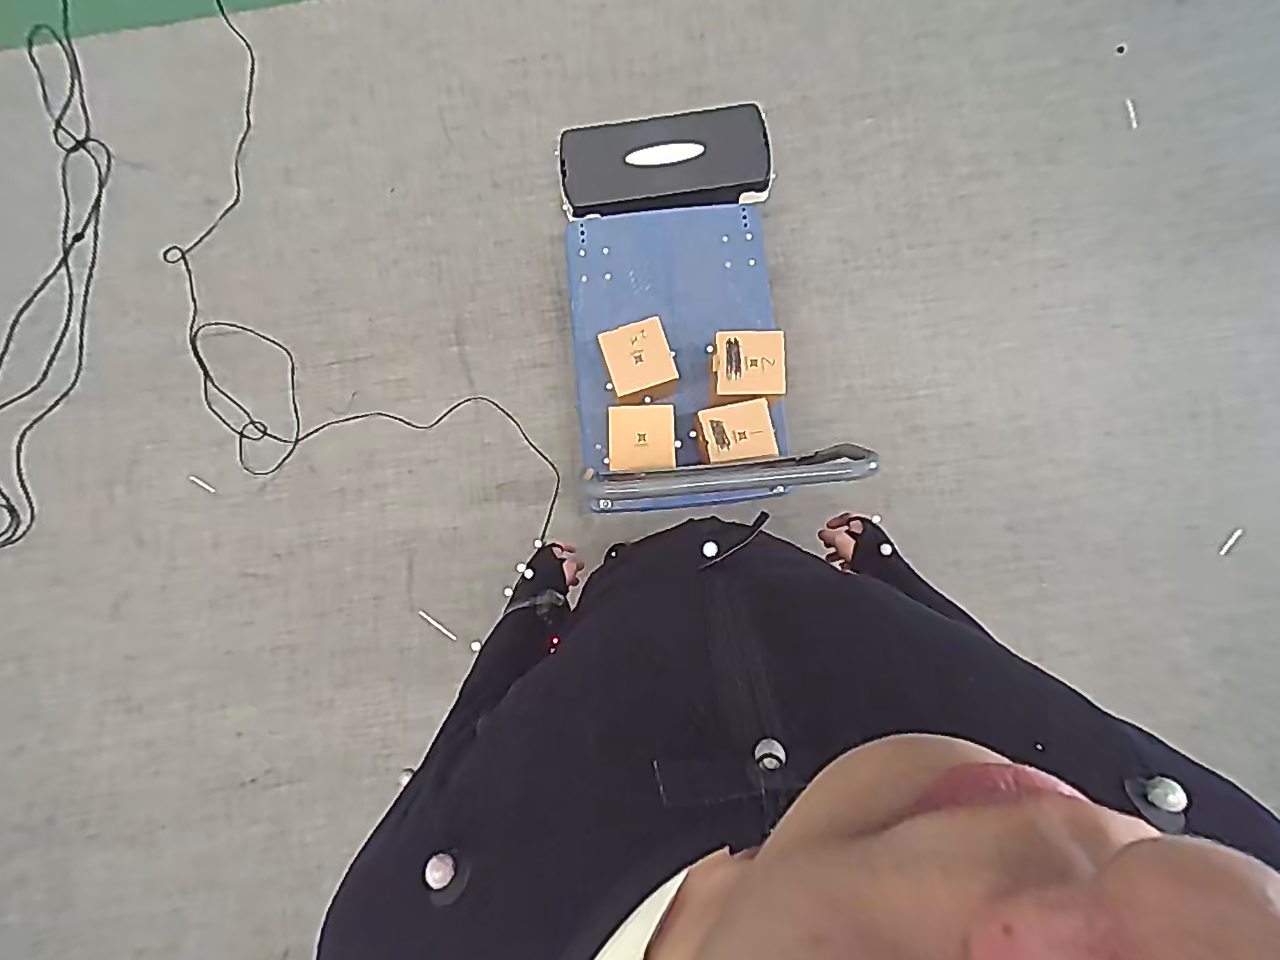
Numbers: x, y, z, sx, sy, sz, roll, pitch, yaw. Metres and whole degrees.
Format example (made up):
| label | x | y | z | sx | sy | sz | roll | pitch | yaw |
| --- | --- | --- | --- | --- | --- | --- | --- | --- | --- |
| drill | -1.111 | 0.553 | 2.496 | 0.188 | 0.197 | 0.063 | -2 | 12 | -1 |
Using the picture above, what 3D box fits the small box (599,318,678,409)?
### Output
| label | x | y | z | sx | sy | sz | roll | pitch | yaw |
| --- | --- | --- | --- | --- | --- | --- | --- | --- | --- |
| small box | -0.003 | -0.301 | 1.444 | 0.168 | 0.176 | 0.179 | -18 | 83 | -2 |
